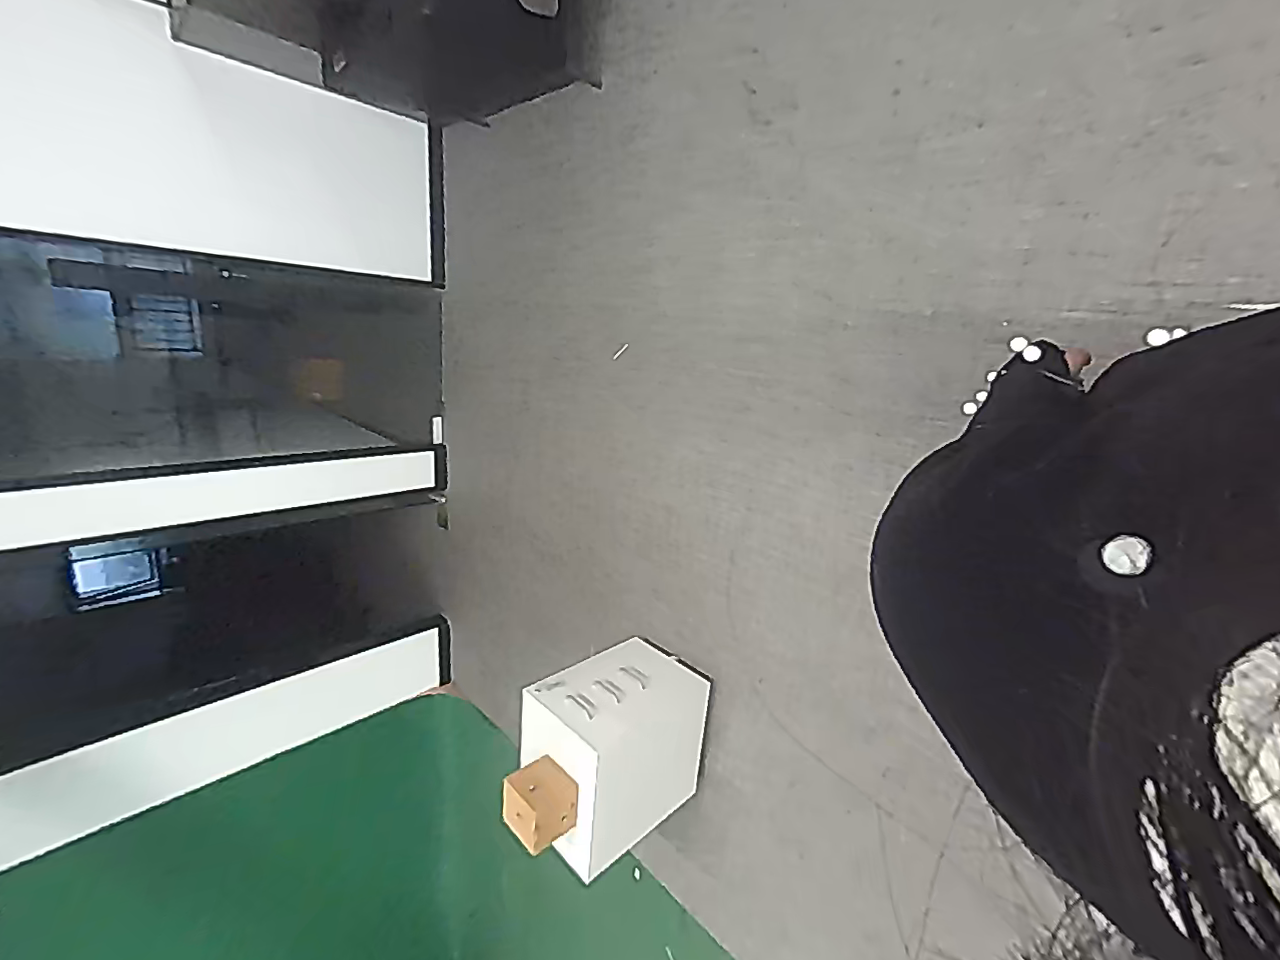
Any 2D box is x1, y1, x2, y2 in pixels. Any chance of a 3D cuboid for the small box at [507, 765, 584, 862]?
[{"bbox_3d":[-0.299,1.033,1.699,0.179,0.176,0.168,18,110,43],"label":"small box"}]
